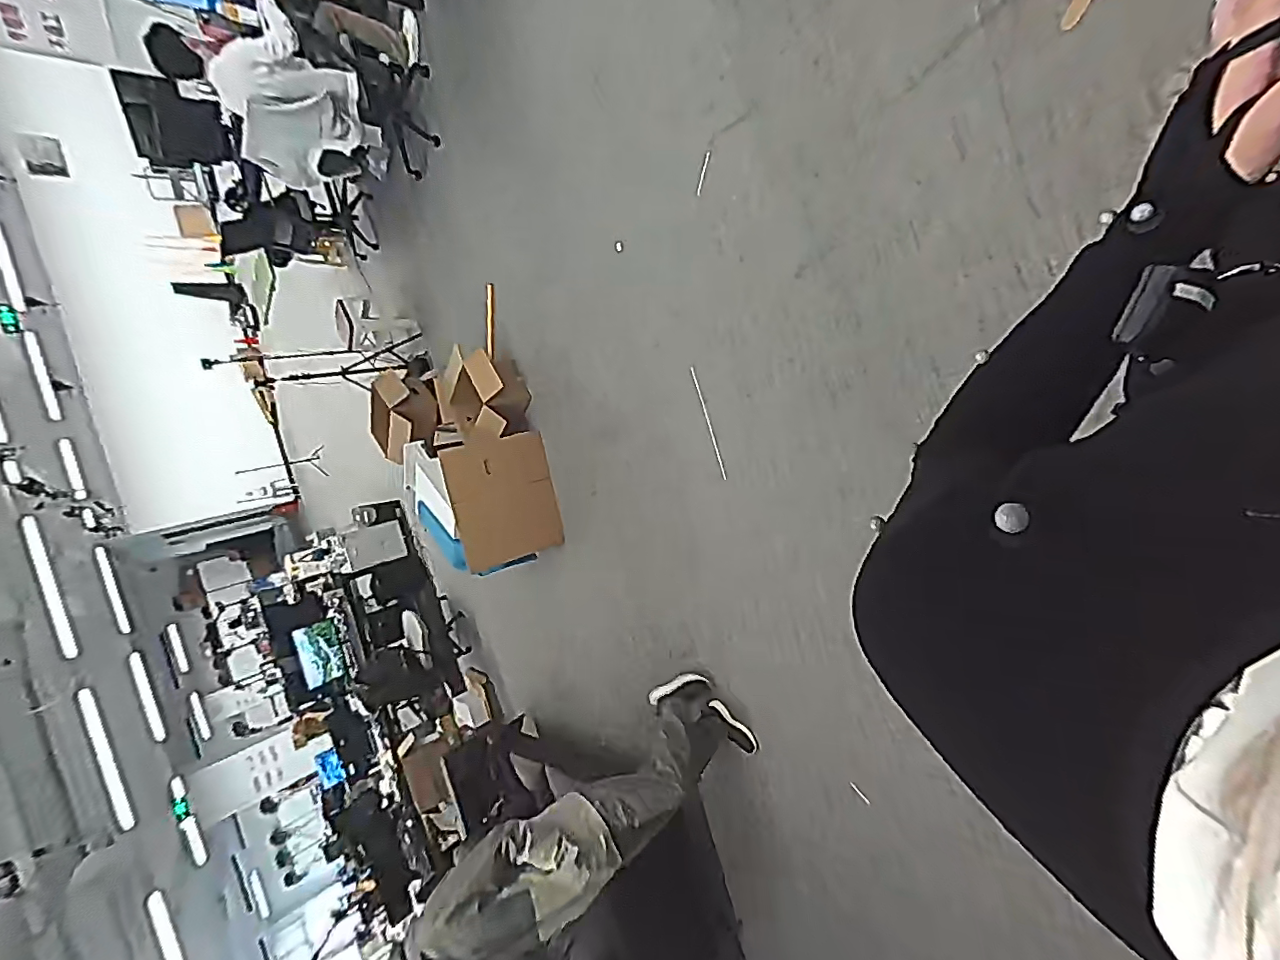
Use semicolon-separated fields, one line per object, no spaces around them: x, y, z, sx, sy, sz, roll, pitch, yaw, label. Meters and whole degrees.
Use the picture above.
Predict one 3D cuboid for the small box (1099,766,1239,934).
1.049;0.719;1.072;0.168;0.176;0.179;15;114;46;small box
